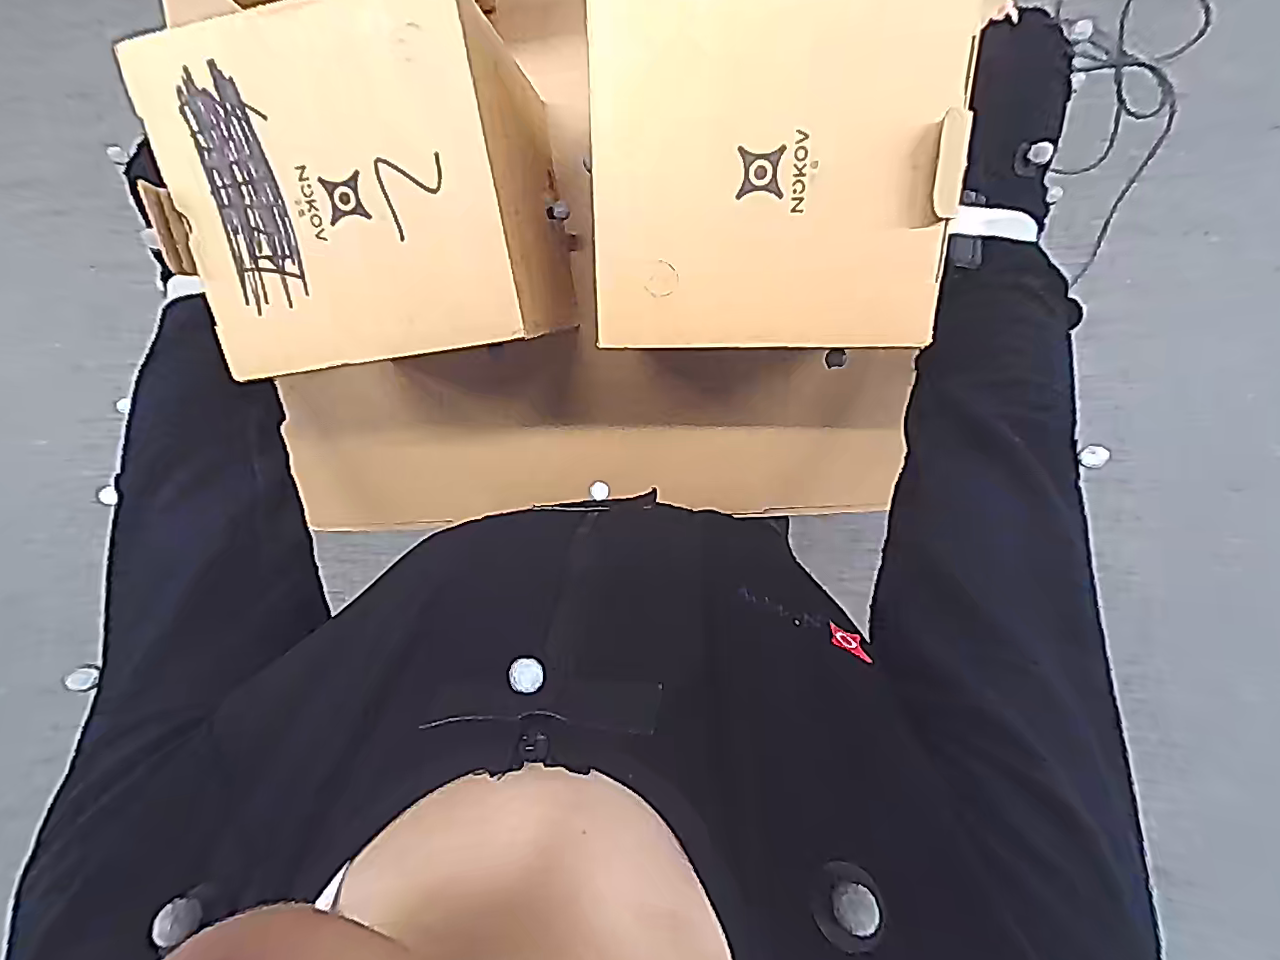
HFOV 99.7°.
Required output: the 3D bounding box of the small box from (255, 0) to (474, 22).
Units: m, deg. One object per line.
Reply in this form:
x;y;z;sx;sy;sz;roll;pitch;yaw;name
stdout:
-0.201;-0.403;0.304;0.168;0.176;0.179;-4;100;5;small box
